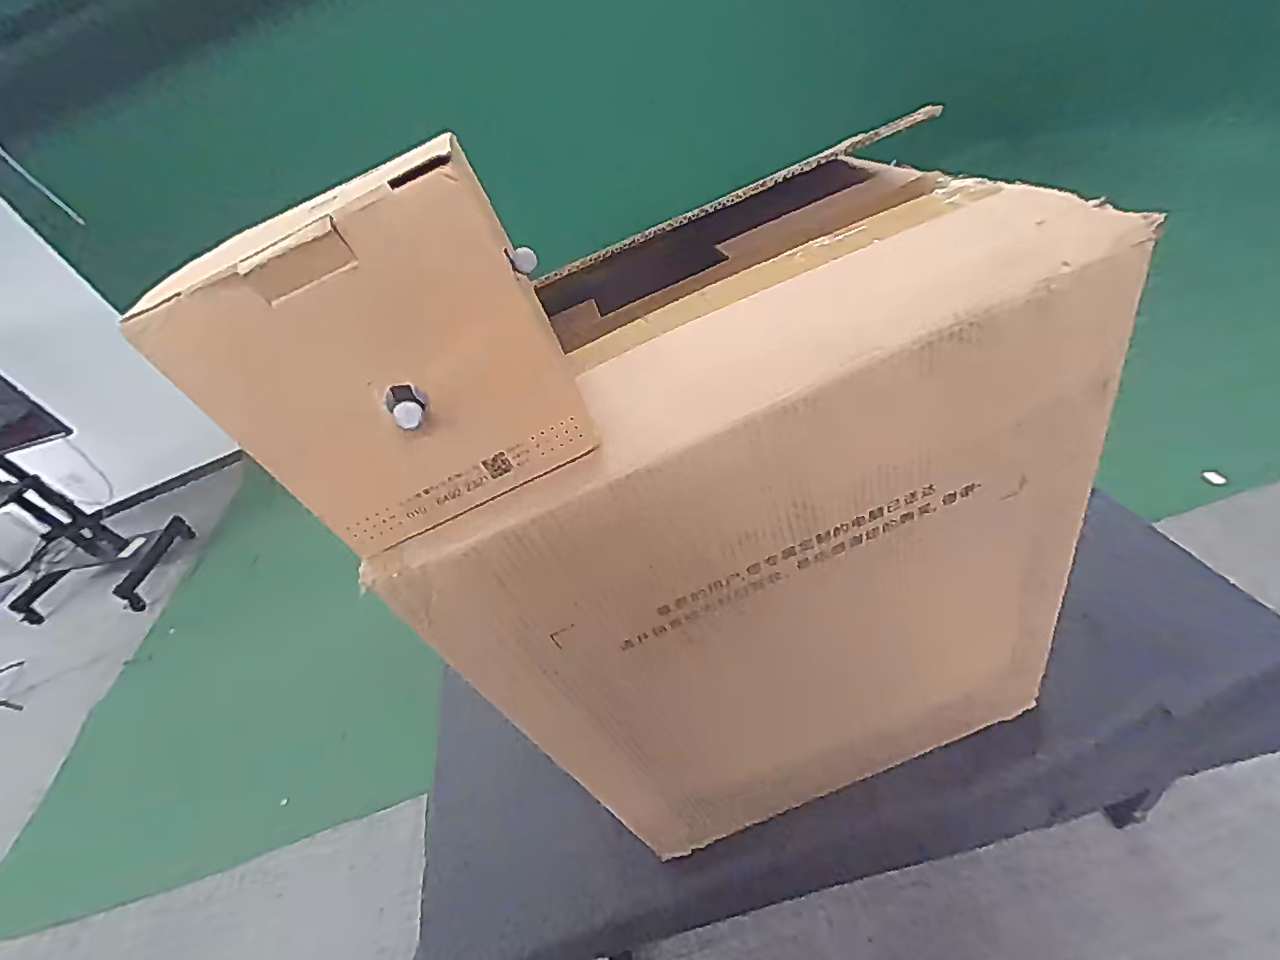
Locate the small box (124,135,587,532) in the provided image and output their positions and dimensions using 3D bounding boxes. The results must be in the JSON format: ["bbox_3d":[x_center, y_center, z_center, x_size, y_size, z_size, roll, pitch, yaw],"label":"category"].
[{"bbox_3d":[-0.149,-0.089,0.350,0.168,0.176,0.179,-26,39,0],"label":"small box"}]
